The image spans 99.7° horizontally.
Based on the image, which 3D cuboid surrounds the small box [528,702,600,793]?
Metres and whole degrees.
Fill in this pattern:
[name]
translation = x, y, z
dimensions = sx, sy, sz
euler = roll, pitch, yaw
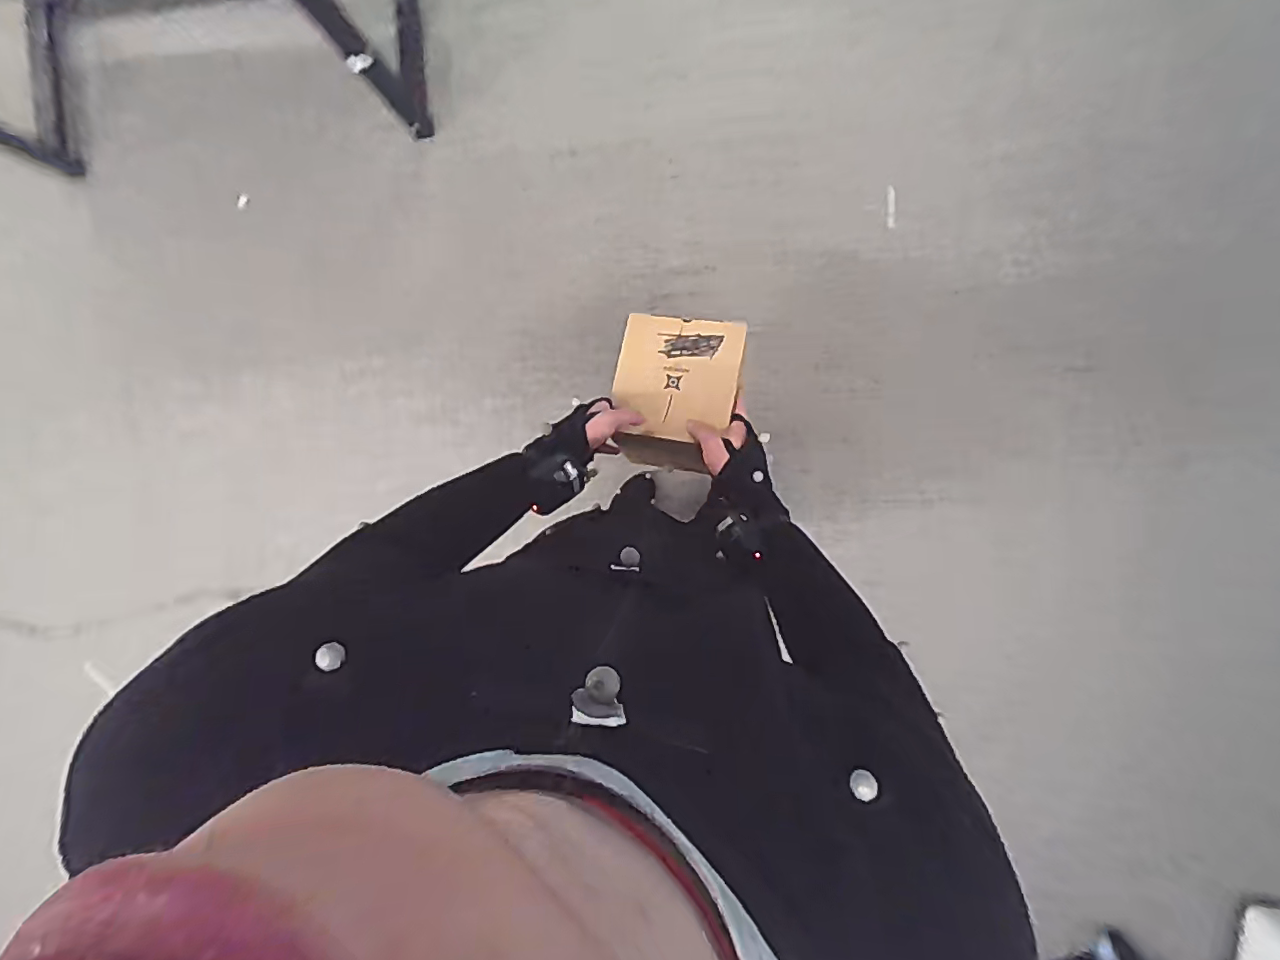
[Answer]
[small box]
translation = -0.209, 0.743, 1.518
dimensions = 0.168, 0.176, 0.179
euler = -2, 93, 7
